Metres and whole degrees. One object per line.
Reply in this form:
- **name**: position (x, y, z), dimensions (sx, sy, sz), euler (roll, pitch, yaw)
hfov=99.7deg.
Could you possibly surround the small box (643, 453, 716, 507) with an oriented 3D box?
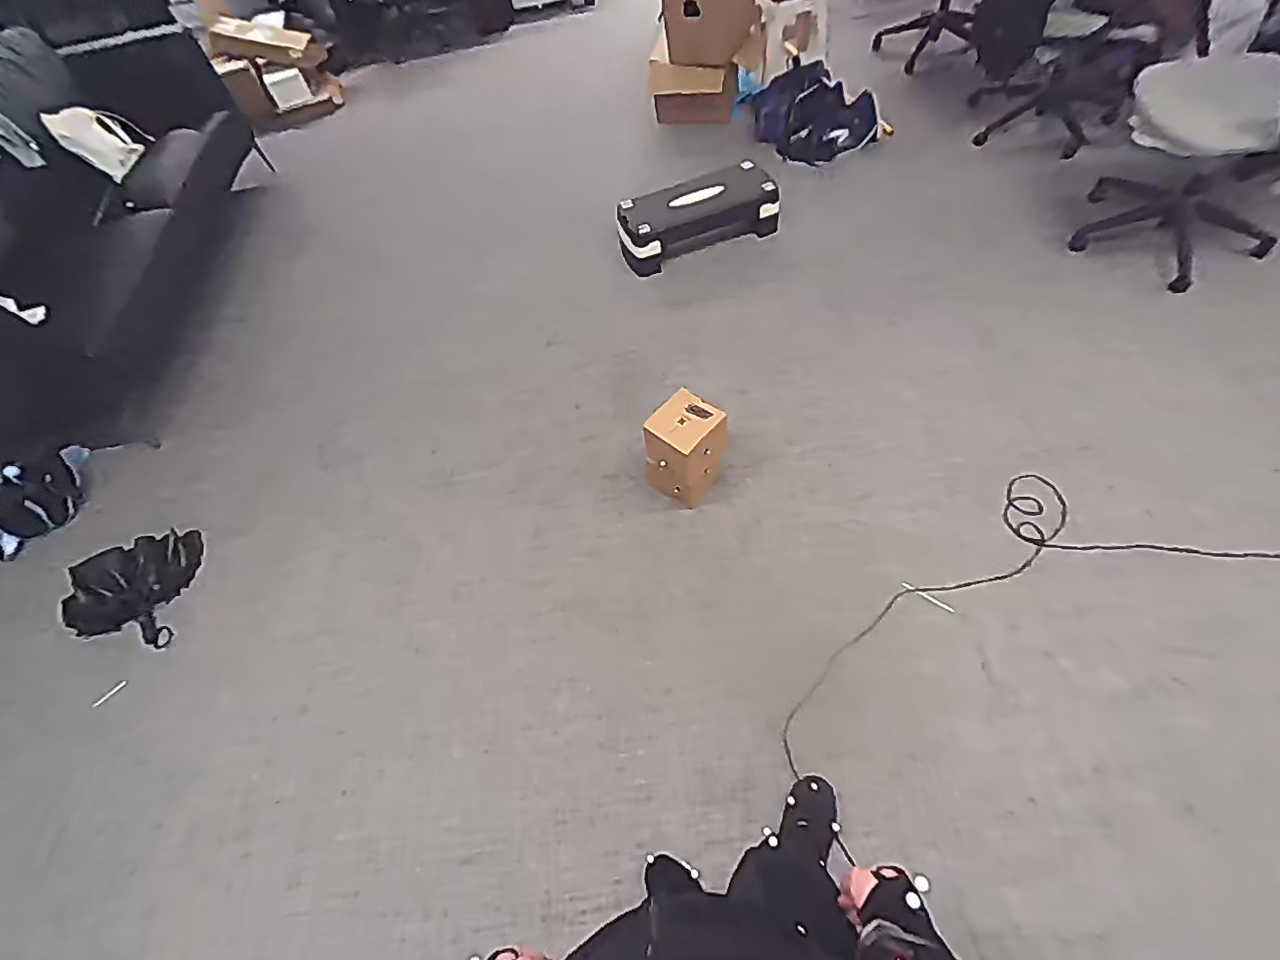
- **small box**: position (0.133, -0.044, 1.718), dimensions (0.168, 0.176, 0.179), euler (29, 65, 22)

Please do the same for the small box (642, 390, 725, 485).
- **small box**: position (0.127, -0.120, 1.571), dimensions (0.168, 0.176, 0.179), euler (36, 70, 26)
